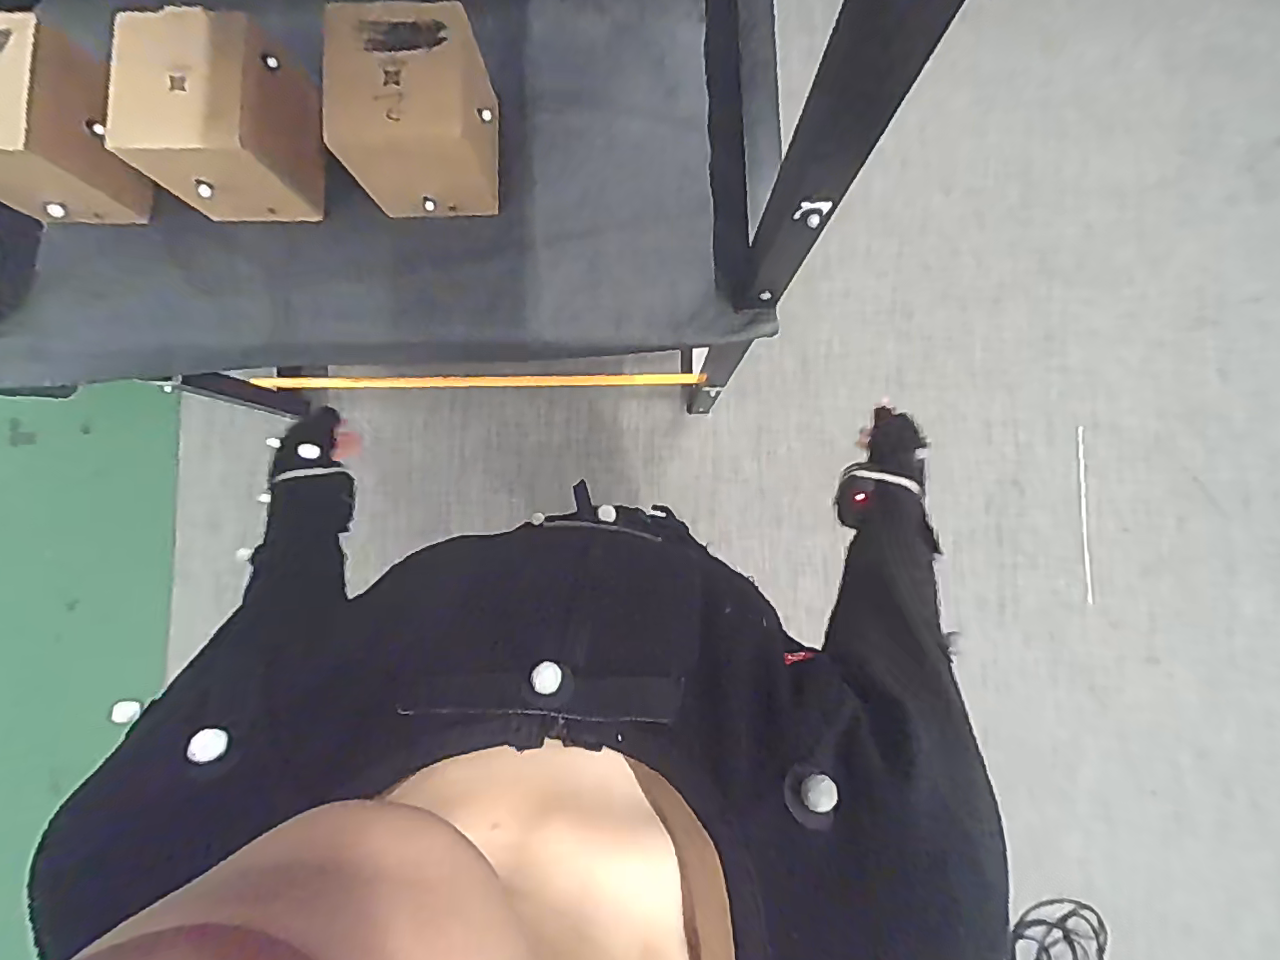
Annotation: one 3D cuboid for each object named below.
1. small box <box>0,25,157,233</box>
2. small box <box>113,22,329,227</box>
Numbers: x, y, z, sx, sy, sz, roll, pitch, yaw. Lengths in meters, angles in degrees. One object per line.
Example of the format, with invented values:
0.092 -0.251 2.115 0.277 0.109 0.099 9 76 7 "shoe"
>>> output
-0.804 -0.464 0.733 0.168 0.176 0.179 0 87 1 "small box"
-0.551 -0.466 0.734 0.168 0.176 0.179 0 86 0 "small box"
